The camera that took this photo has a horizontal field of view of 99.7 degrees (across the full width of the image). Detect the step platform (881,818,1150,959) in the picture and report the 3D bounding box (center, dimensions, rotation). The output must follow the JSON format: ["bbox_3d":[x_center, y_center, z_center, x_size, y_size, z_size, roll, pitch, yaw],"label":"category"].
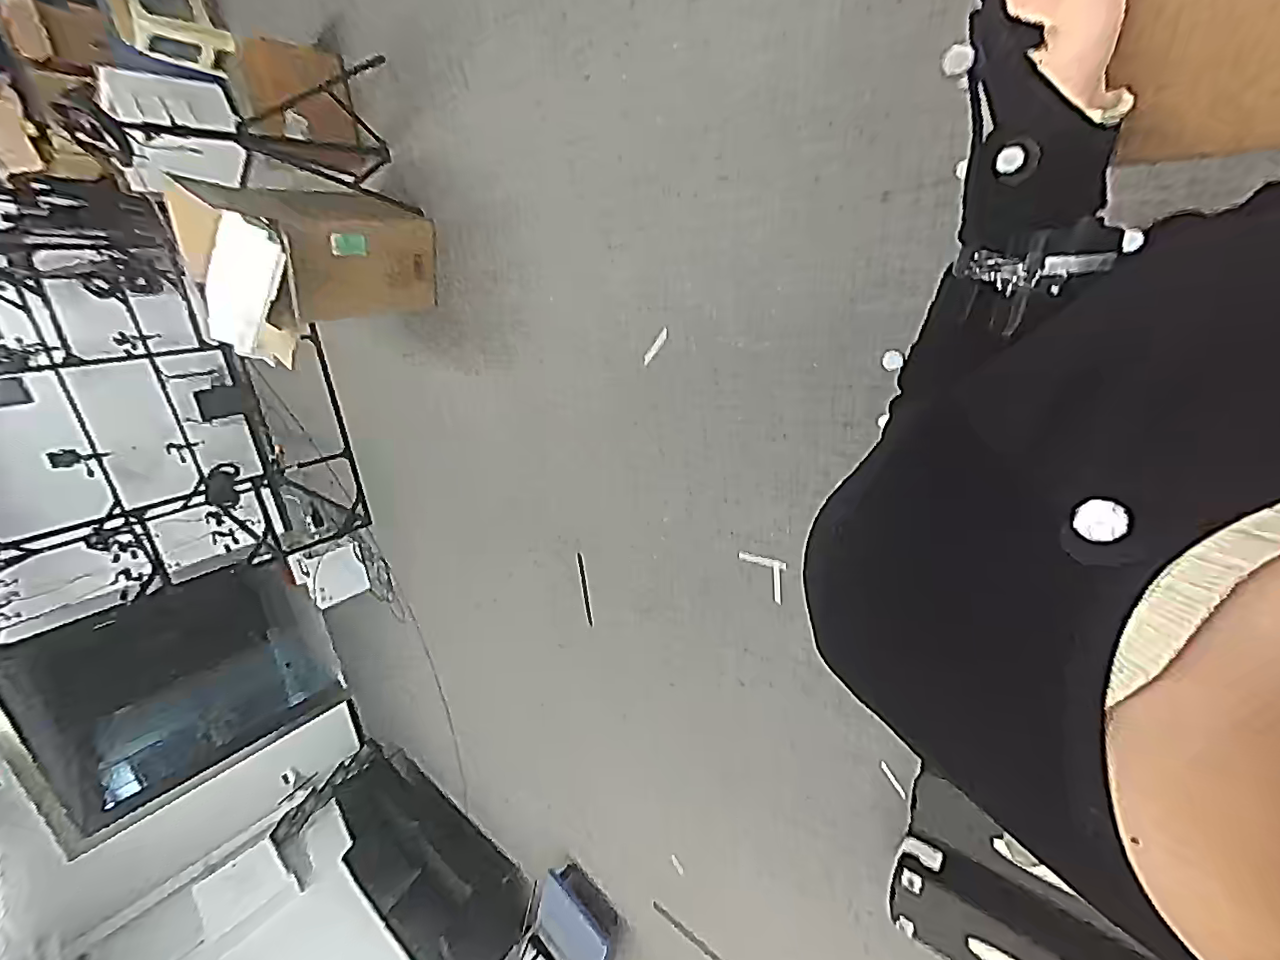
[{"bbox_3d":[1.026,1.270,1.456,0.684,0.204,0.286,20,121,38],"label":"step platform"}]
